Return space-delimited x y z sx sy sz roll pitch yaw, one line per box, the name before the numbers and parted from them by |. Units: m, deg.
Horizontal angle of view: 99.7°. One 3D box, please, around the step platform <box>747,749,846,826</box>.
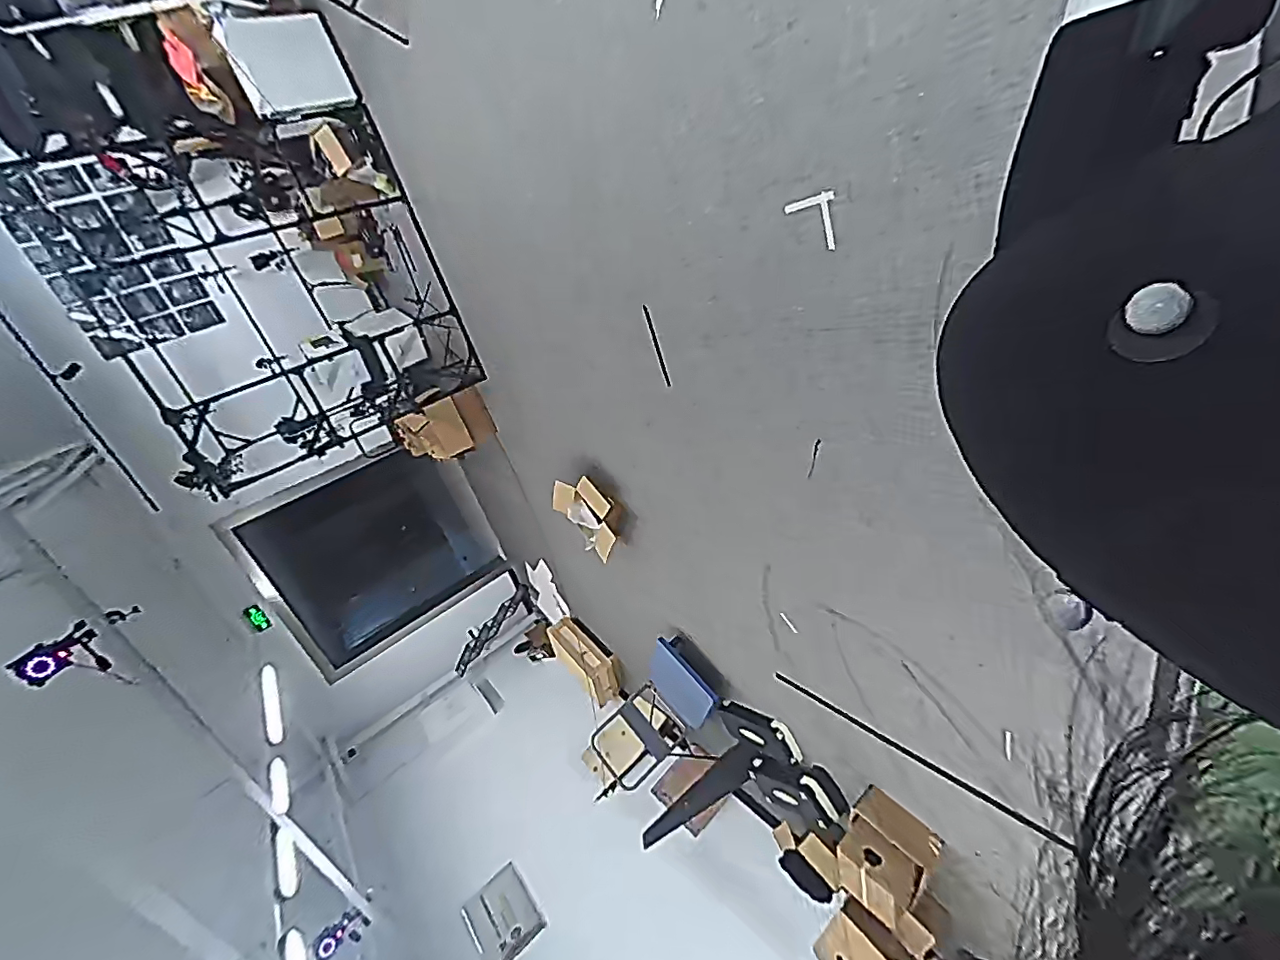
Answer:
step platform | 0.986 1.979 3.503 0.286 0.204 0.684 57 152 1
